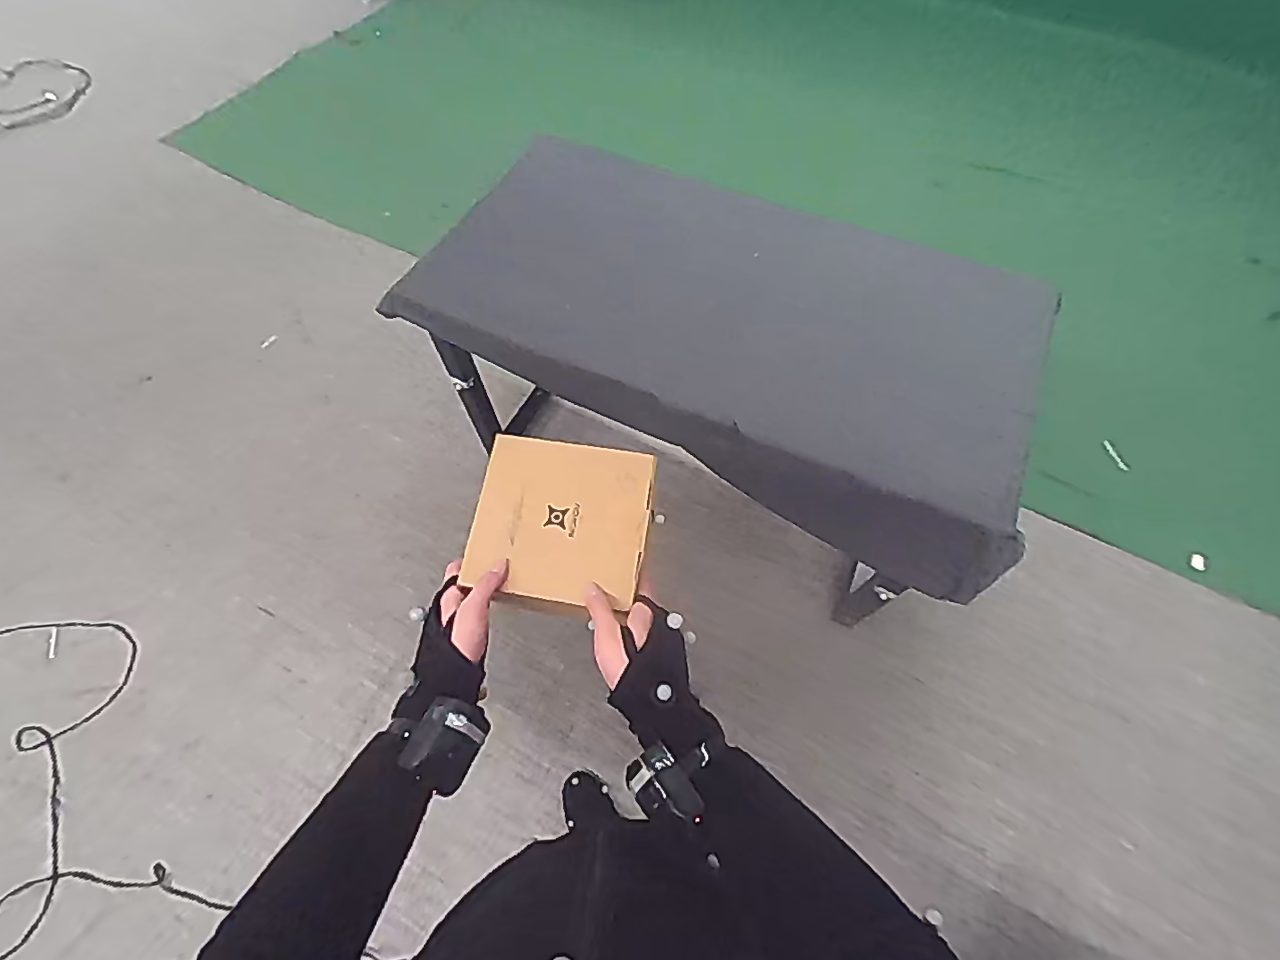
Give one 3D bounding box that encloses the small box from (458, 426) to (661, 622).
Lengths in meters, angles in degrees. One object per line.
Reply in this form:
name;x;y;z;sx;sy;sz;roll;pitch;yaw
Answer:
small box;-0.075;0.059;0.609;0.179;0.176;0.168;7;68;4
